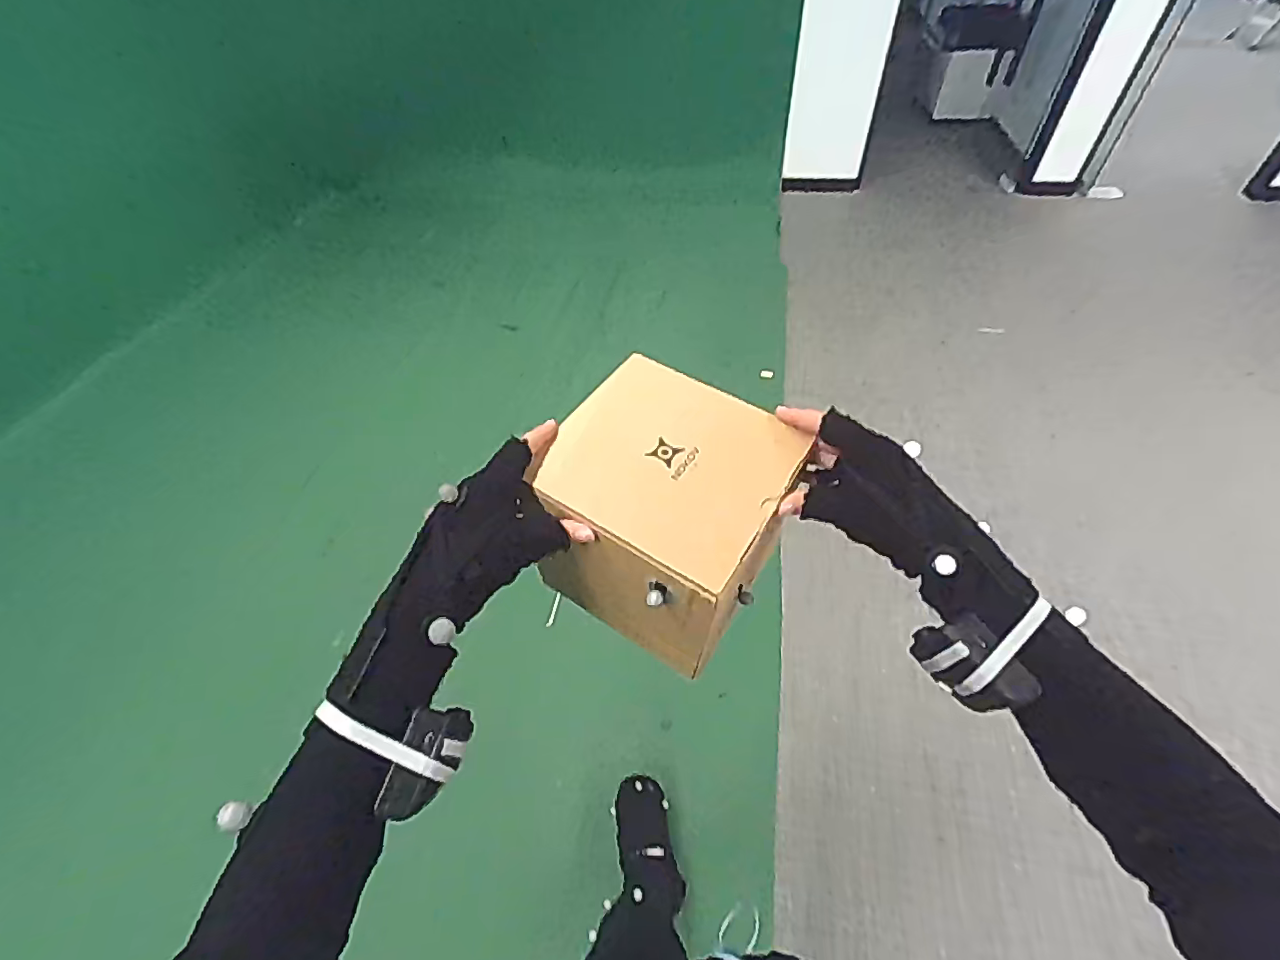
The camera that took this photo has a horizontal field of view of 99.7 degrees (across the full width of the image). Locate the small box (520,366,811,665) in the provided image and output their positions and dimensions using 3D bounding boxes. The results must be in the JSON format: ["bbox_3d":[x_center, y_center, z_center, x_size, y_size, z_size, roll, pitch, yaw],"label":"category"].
[{"bbox_3d":[0.019,0.035,0.485,0.179,0.176,0.168,29,57,18],"label":"small box"}]
